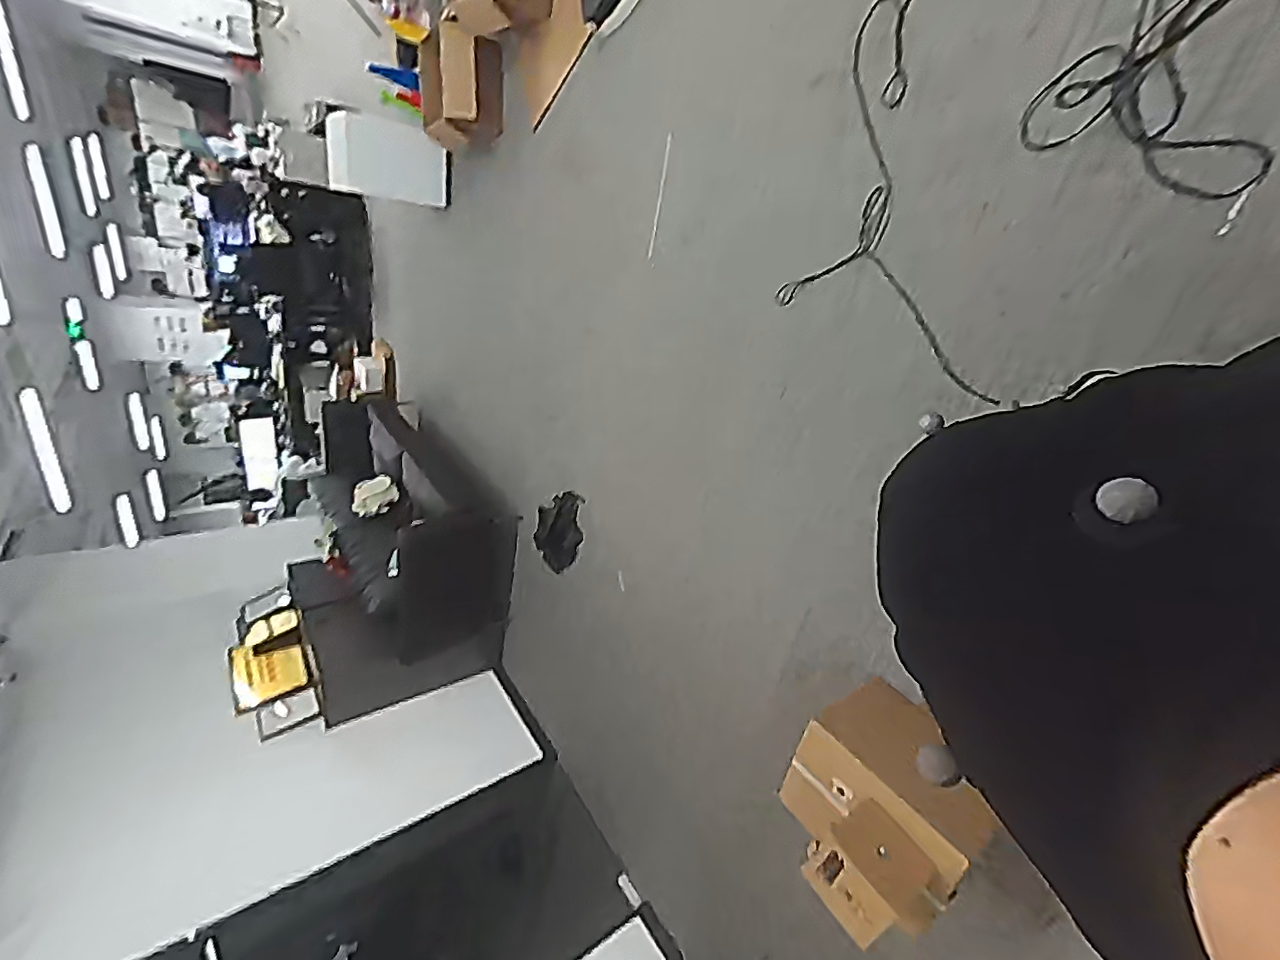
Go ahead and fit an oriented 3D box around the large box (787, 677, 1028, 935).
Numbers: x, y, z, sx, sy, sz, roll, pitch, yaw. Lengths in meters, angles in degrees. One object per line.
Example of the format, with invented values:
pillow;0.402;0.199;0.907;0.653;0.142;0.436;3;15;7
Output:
large box;0.661;0.792;1.377;0.408;0.320;0.320;37;125;44
